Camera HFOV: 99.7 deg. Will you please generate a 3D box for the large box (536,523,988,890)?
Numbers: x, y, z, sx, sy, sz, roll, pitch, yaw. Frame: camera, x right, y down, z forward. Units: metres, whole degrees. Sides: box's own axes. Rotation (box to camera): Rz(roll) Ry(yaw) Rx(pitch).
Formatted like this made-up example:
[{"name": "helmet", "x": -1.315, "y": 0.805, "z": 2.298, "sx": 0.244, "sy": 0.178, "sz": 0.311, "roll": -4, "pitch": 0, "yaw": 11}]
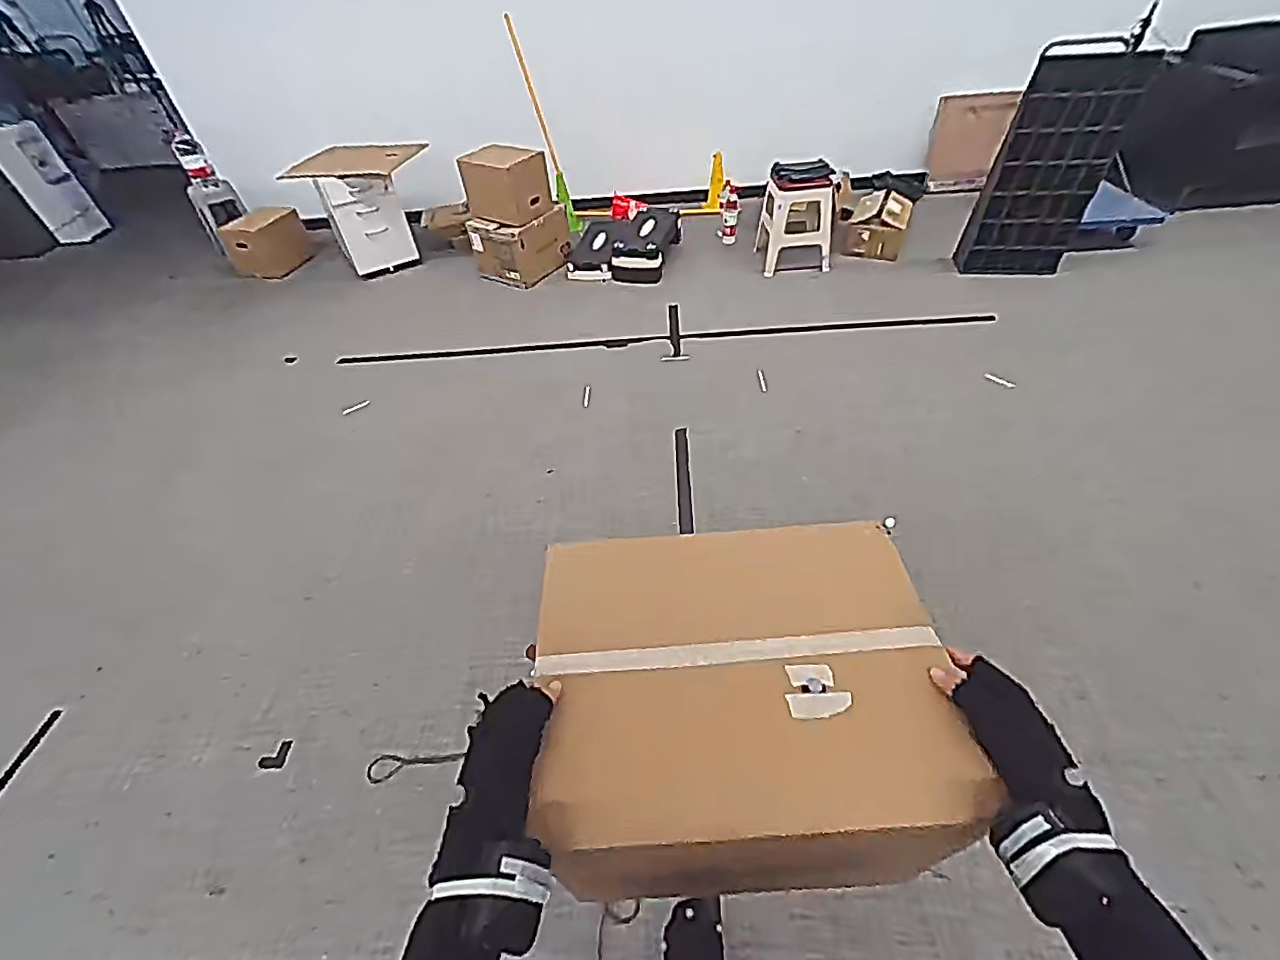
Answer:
[{"name": "large box", "x": 0.103, "y": 0.282, "z": 0.673, "sx": 0.408, "sy": 0.320, "sz": 0.320, "roll": -4, "pitch": 47, "yaw": 0}]
